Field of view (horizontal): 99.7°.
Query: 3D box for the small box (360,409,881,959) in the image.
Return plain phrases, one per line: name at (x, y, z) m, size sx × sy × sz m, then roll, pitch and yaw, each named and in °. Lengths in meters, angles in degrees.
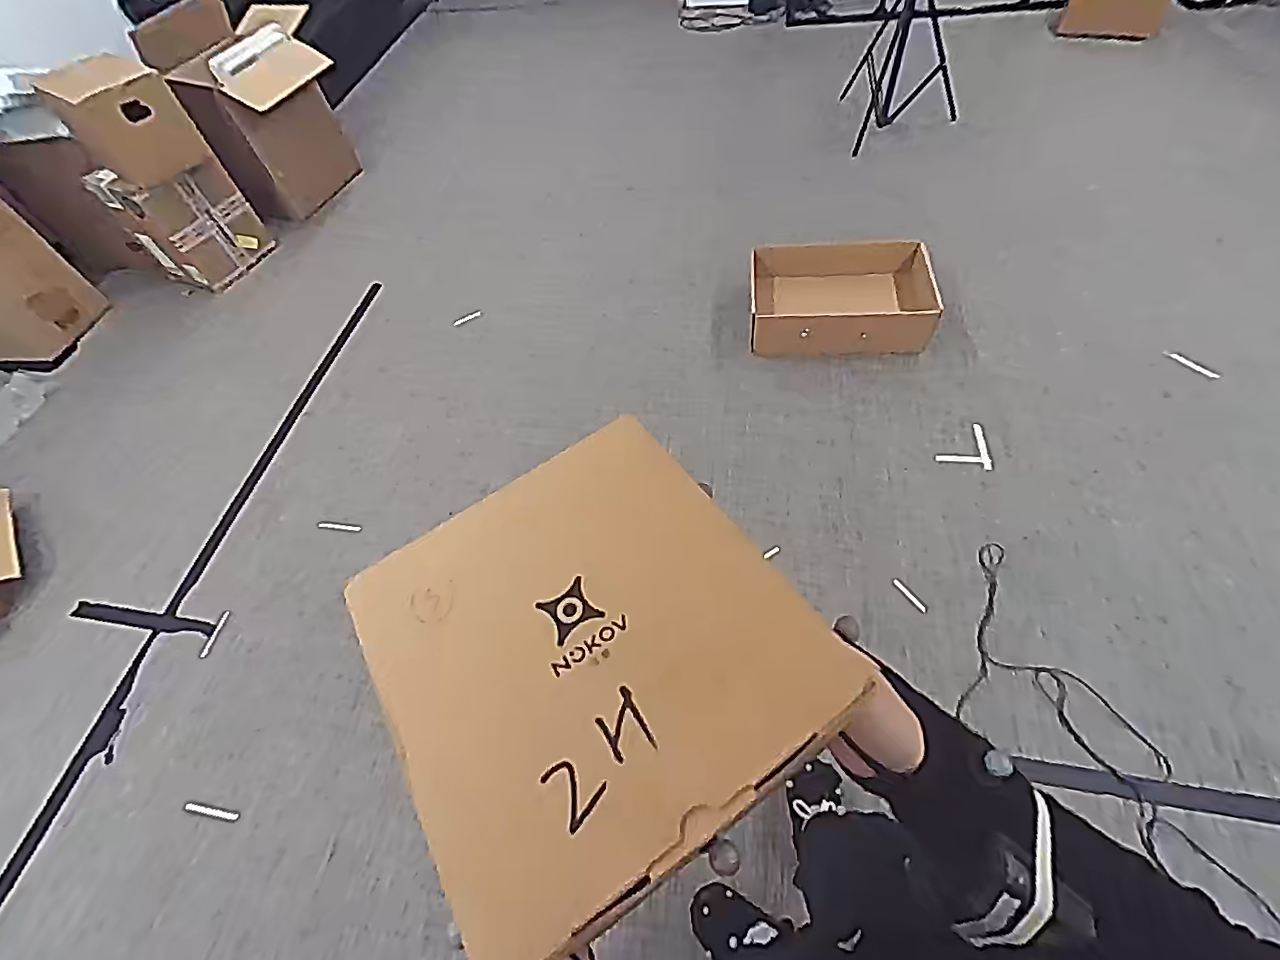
small box at (-0.012, 0.102, 0.295) m, size 0.168 × 0.176 × 0.179 m, roll -32°, pitch 57°, yaw -12°
